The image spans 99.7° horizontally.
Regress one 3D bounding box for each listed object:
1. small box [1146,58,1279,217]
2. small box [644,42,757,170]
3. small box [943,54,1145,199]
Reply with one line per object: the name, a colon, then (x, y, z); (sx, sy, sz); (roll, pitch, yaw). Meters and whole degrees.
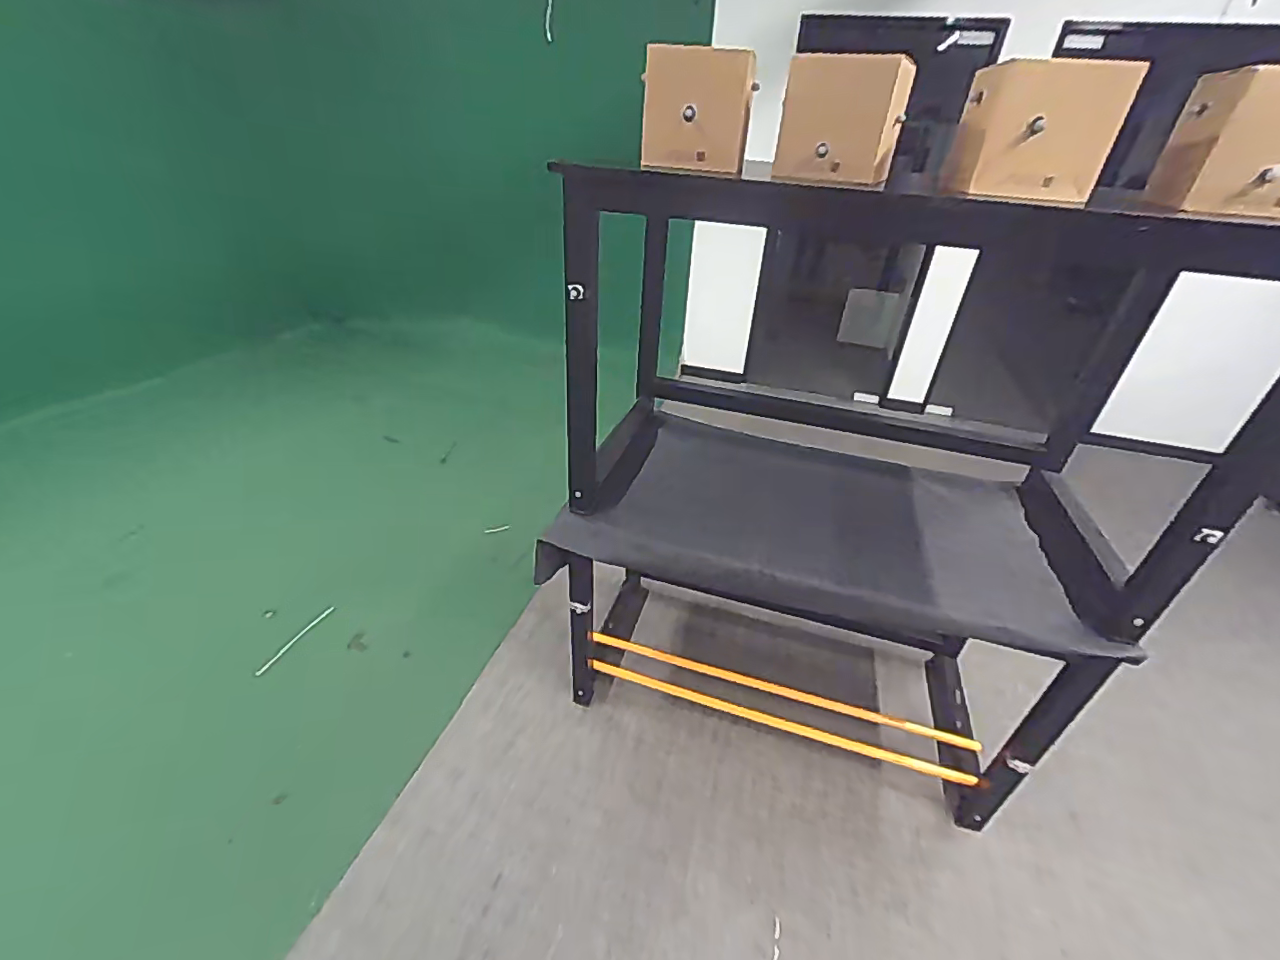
small box: (0.874, -0.478, 0.762); (0.168, 0.176, 0.179); (15, 36, 17)
small box: (0.104, -0.644, 0.943); (0.168, 0.176, 0.179); (11, 34, 9)
small box: (0.592, -0.532, 0.823); (0.168, 0.176, 0.179); (9, 33, 9)
